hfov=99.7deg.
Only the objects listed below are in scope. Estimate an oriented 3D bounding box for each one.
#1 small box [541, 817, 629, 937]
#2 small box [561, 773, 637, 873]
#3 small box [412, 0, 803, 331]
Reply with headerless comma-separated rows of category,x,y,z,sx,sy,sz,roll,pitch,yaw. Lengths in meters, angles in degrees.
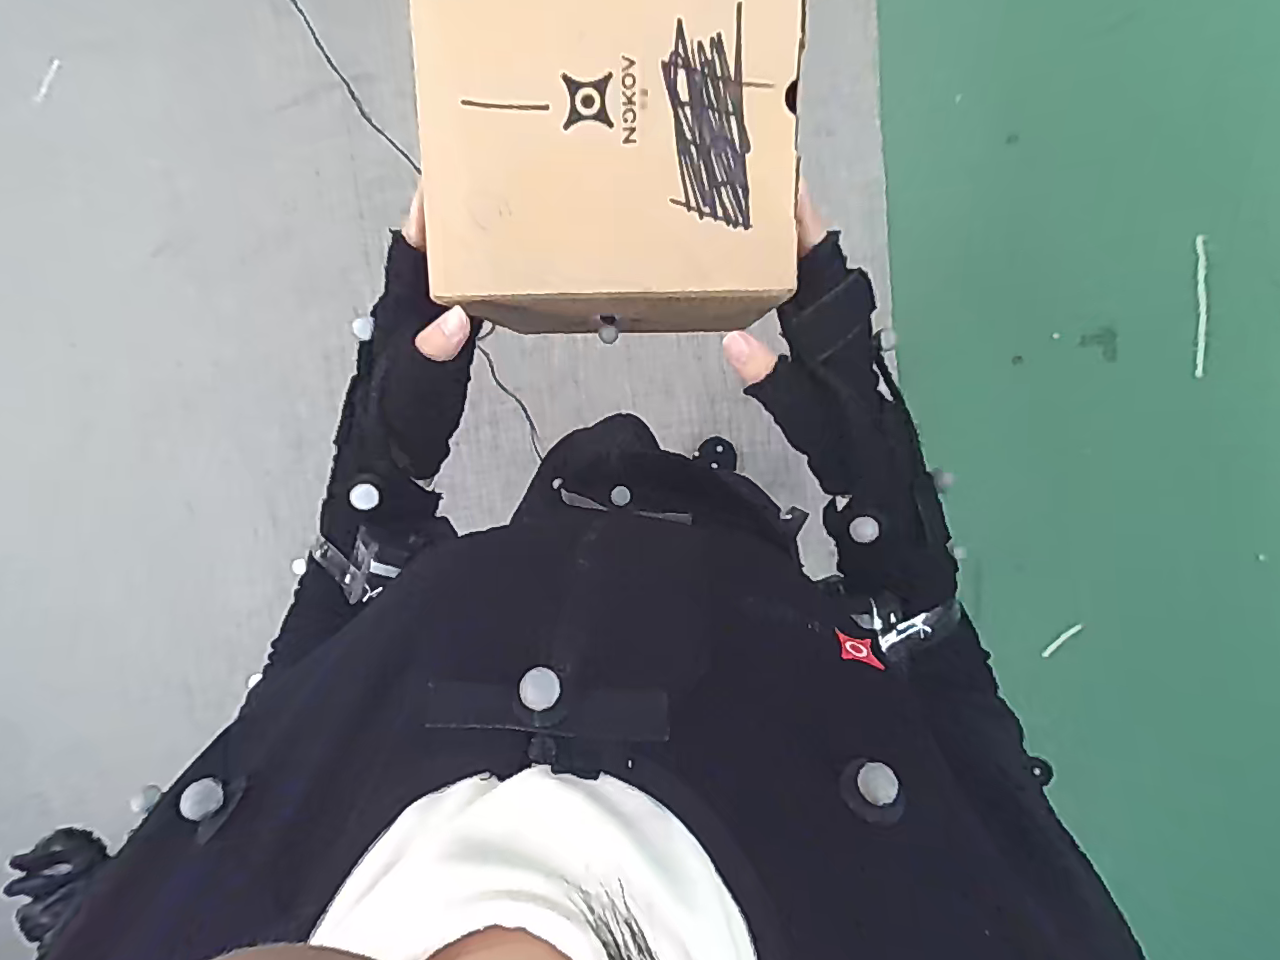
small box,-0.126,0.939,1.294,0.168,0.176,0.179,-6,98,8
small box,-0.105,0.916,1.454,0.168,0.176,0.179,-5,97,8
small box,-0.012,-0.185,0.327,0.179,0.176,0.168,-4,100,2
